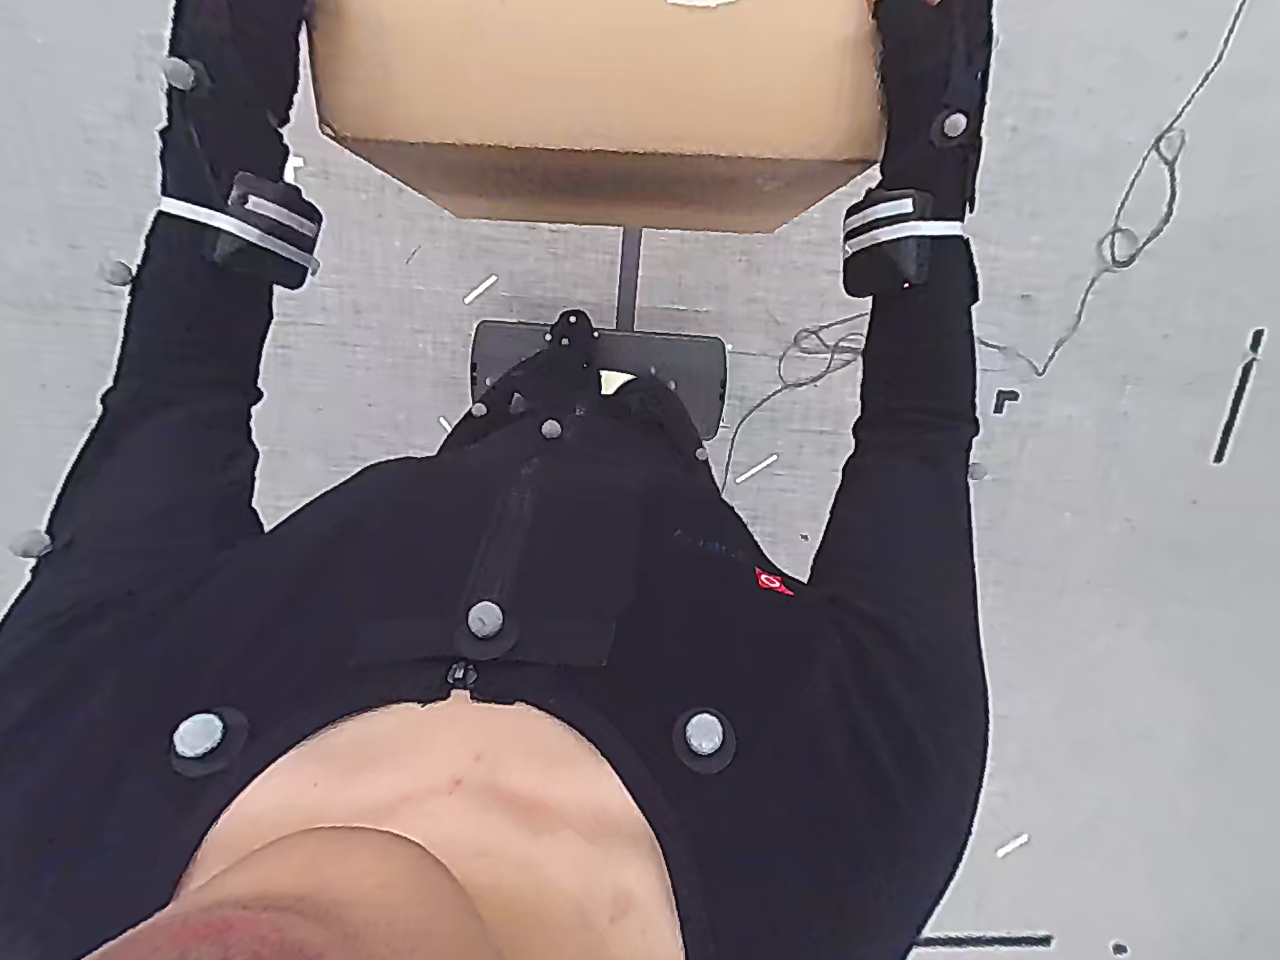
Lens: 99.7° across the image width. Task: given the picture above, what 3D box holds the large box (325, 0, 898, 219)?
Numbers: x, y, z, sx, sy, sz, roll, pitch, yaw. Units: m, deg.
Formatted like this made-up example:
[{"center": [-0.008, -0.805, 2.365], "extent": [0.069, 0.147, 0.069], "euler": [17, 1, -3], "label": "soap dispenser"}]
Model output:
[{"center": [-0.021, -0.438, 0.497], "extent": [0.408, 0.320, 0.320], "euler": [1, 107, -3], "label": "large box"}]
